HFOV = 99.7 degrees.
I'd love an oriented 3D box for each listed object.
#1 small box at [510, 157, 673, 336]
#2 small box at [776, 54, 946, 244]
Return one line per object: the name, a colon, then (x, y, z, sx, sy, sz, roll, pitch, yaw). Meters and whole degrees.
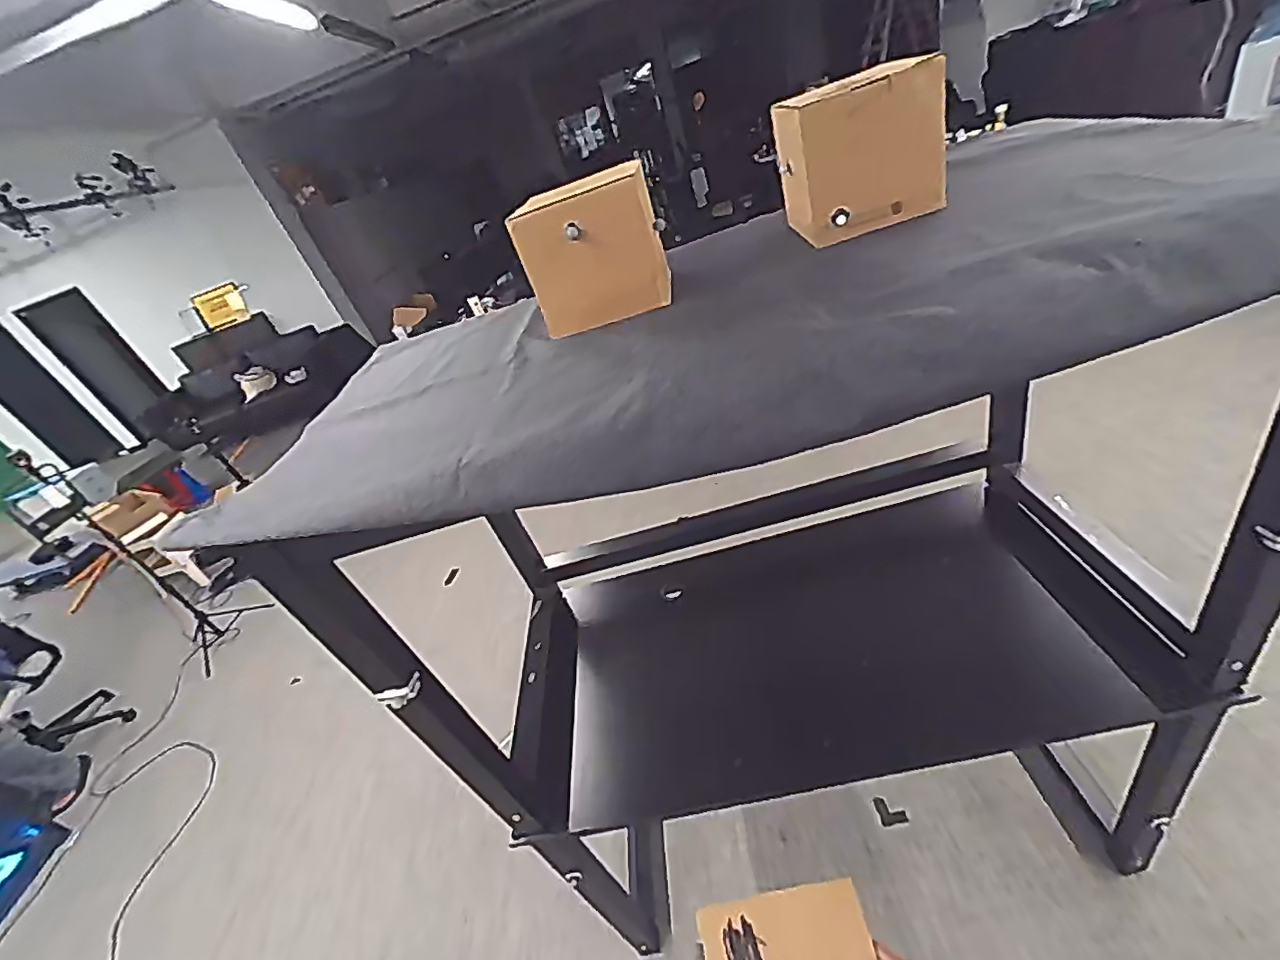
small box: (-0.054, -0.329, 0.767, 0.179, 0.176, 0.168, -13, 34, 12)
small box: (0.294, -0.438, 0.731, 0.168, 0.176, 0.179, -14, 33, 10)
